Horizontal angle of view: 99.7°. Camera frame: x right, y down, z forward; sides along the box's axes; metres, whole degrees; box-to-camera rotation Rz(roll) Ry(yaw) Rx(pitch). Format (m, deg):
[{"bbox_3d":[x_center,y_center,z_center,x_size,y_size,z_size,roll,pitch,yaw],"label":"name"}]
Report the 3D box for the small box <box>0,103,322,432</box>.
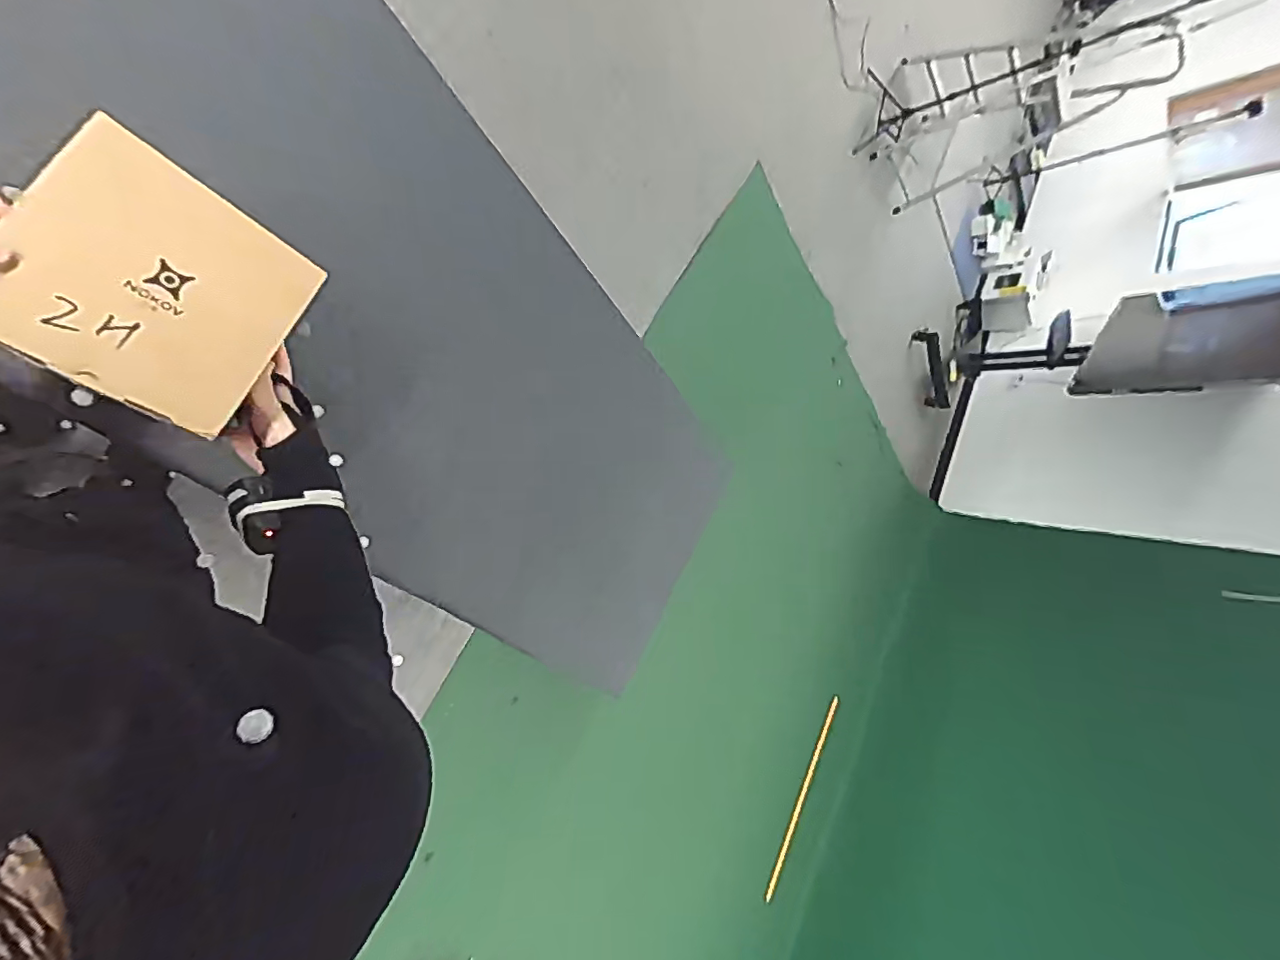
[{"bbox_3d":[-0.418,-0.159,0.457,0.168,0.176,0.179,39,68,-42],"label":"small box"}]
